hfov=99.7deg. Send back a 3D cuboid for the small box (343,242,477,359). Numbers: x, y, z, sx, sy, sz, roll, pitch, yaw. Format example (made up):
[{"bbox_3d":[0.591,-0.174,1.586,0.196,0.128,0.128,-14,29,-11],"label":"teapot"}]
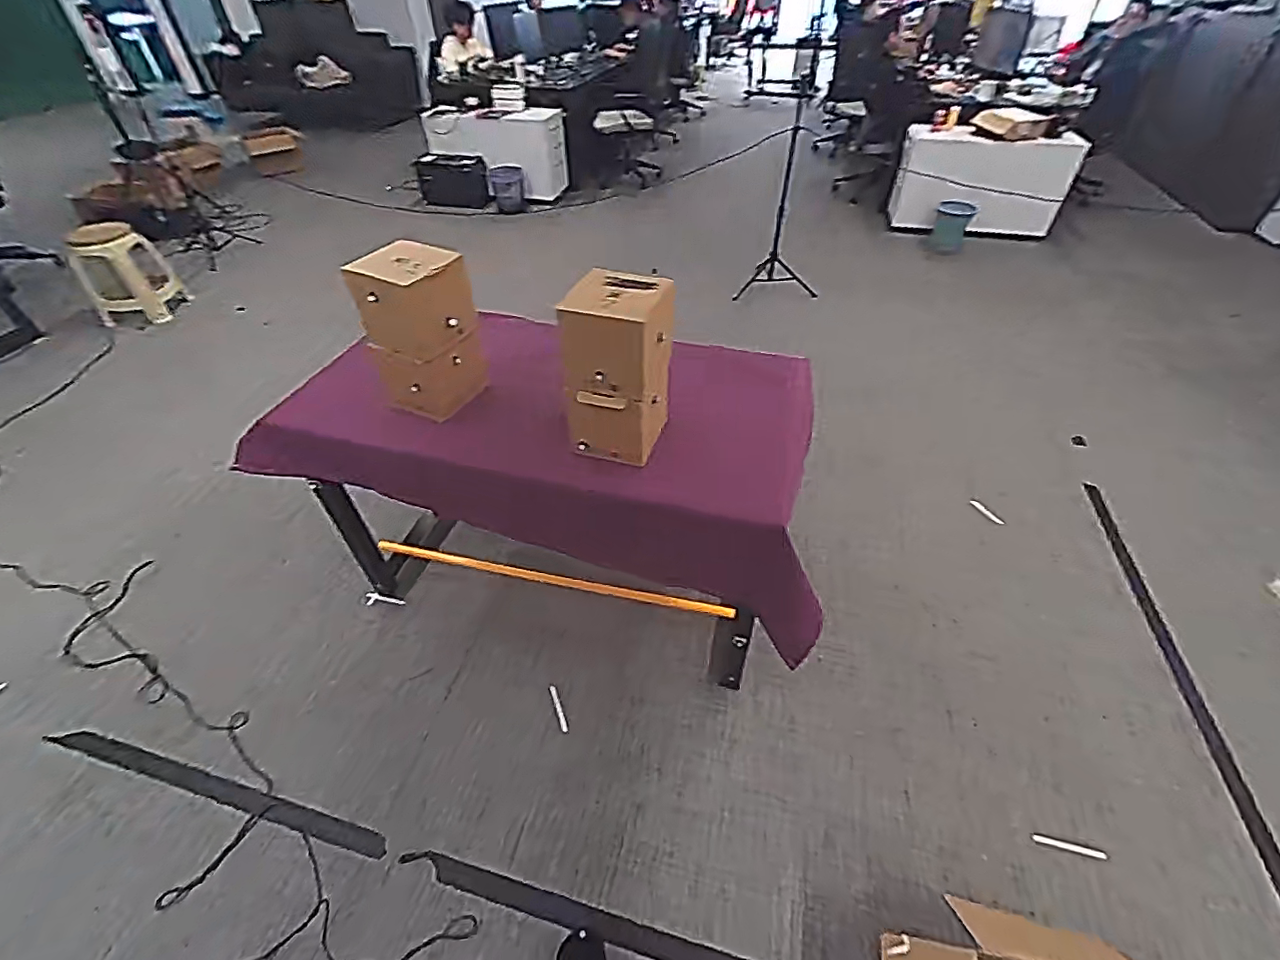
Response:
[{"bbox_3d":[-0.477,-0.380,1.147,0.179,0.176,0.168,20,49,19],"label":"small box"}]

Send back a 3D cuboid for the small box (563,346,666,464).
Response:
[{"bbox_3d":[-0.045,-0.158,1.145,0.168,0.176,0.179,13,45,13],"label":"small box"}]

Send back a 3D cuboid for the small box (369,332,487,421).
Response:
[{"bbox_3d":[-0.482,-0.263,1.262,0.168,0.176,0.179,19,48,18],"label":"small box"}]
